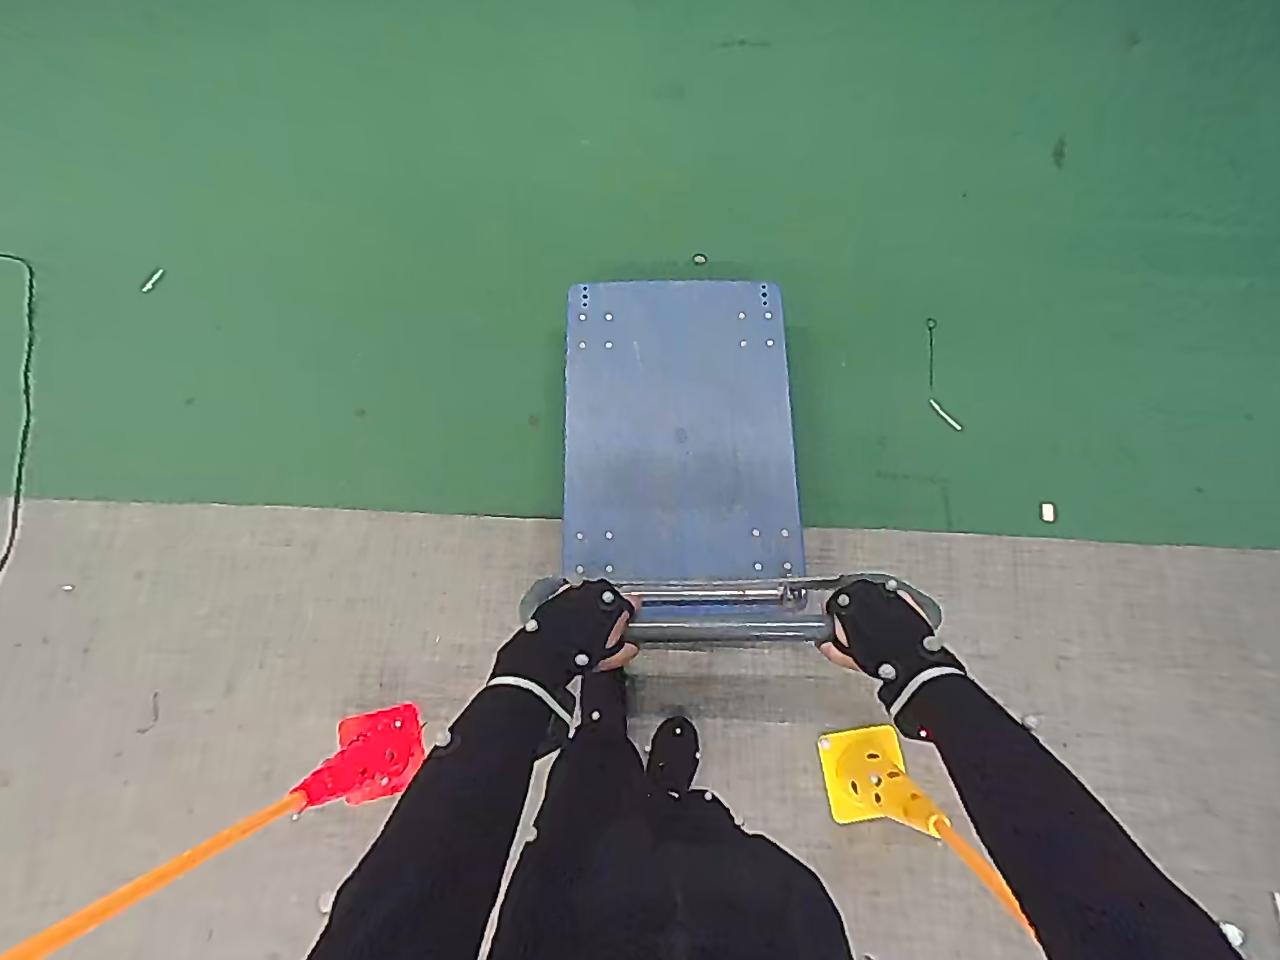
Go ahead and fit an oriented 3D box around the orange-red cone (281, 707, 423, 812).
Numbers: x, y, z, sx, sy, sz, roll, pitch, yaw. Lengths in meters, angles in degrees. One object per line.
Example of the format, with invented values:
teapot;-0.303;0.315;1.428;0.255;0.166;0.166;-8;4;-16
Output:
orange-red cone;-0.636;0.629;1.153;0.199;0.360;0.198;-12;76;-2
